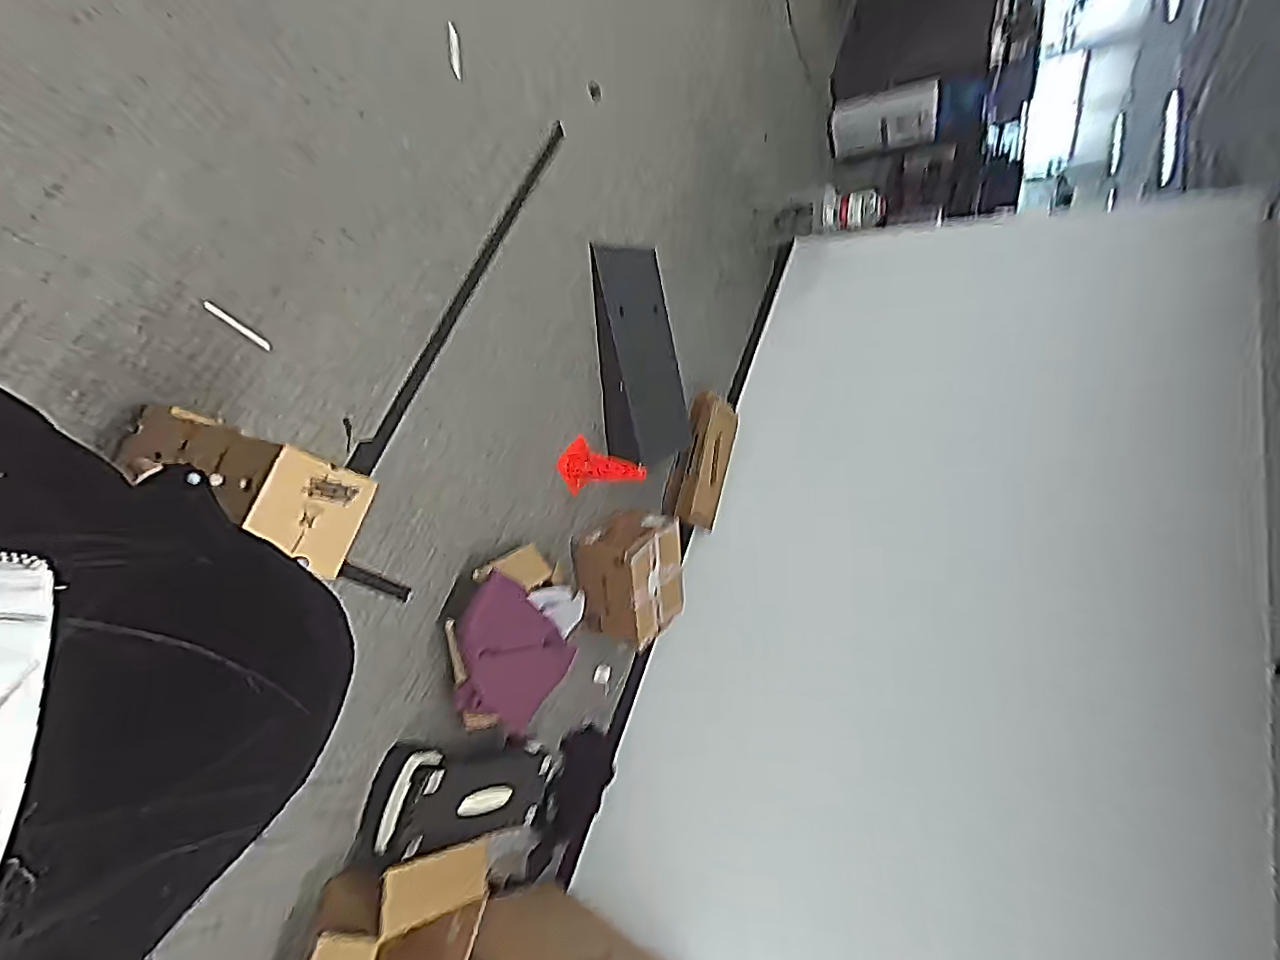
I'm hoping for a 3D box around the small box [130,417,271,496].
[{"bbox_3d":[-0.911,-0.026,1.140,0.179,0.176,0.168,37,67,-53],"label":"small box"}]

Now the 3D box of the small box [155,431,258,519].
[{"bbox_3d":[-0.782,0.013,1.046,0.179,0.176,0.168,35,68,-54],"label":"small box"}]

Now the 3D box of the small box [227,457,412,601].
[{"bbox_3d":[-0.512,0.075,0.866,0.168,0.176,0.179,38,67,-54],"label":"small box"}]

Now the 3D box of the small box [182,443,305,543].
[{"bbox_3d":[-0.646,0.044,0.957,0.179,0.176,0.168,43,61,-52],"label":"small box"}]
